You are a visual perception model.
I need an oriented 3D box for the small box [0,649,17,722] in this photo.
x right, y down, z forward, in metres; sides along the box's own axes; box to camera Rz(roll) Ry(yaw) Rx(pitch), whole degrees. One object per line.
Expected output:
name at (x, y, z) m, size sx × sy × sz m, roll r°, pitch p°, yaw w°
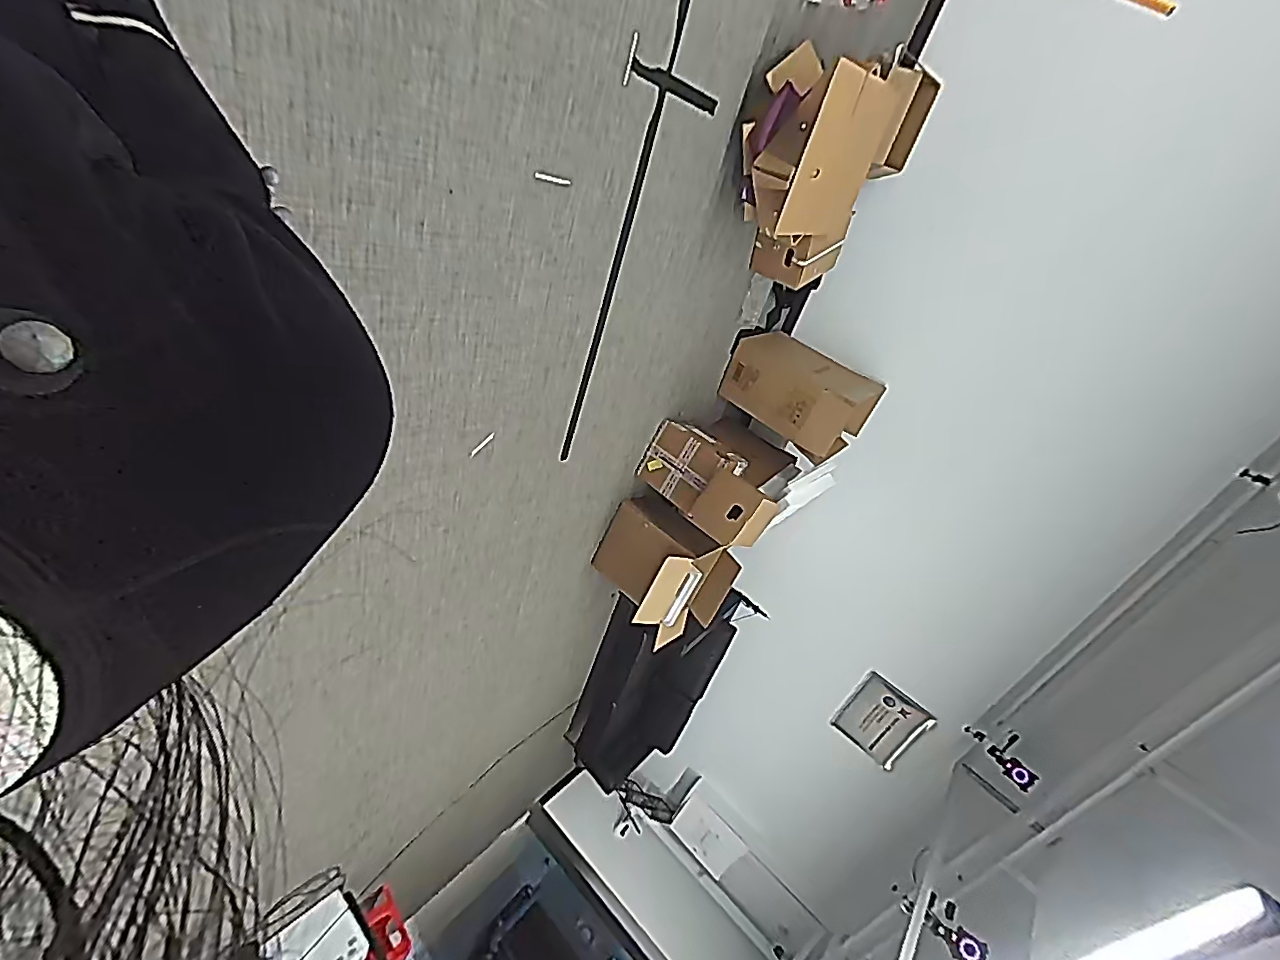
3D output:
small box at (-1.572, 0.468, 1.225) m, size 0.179 × 0.176 × 0.168 m, roll -17°, pitch 137°, yaw -53°
